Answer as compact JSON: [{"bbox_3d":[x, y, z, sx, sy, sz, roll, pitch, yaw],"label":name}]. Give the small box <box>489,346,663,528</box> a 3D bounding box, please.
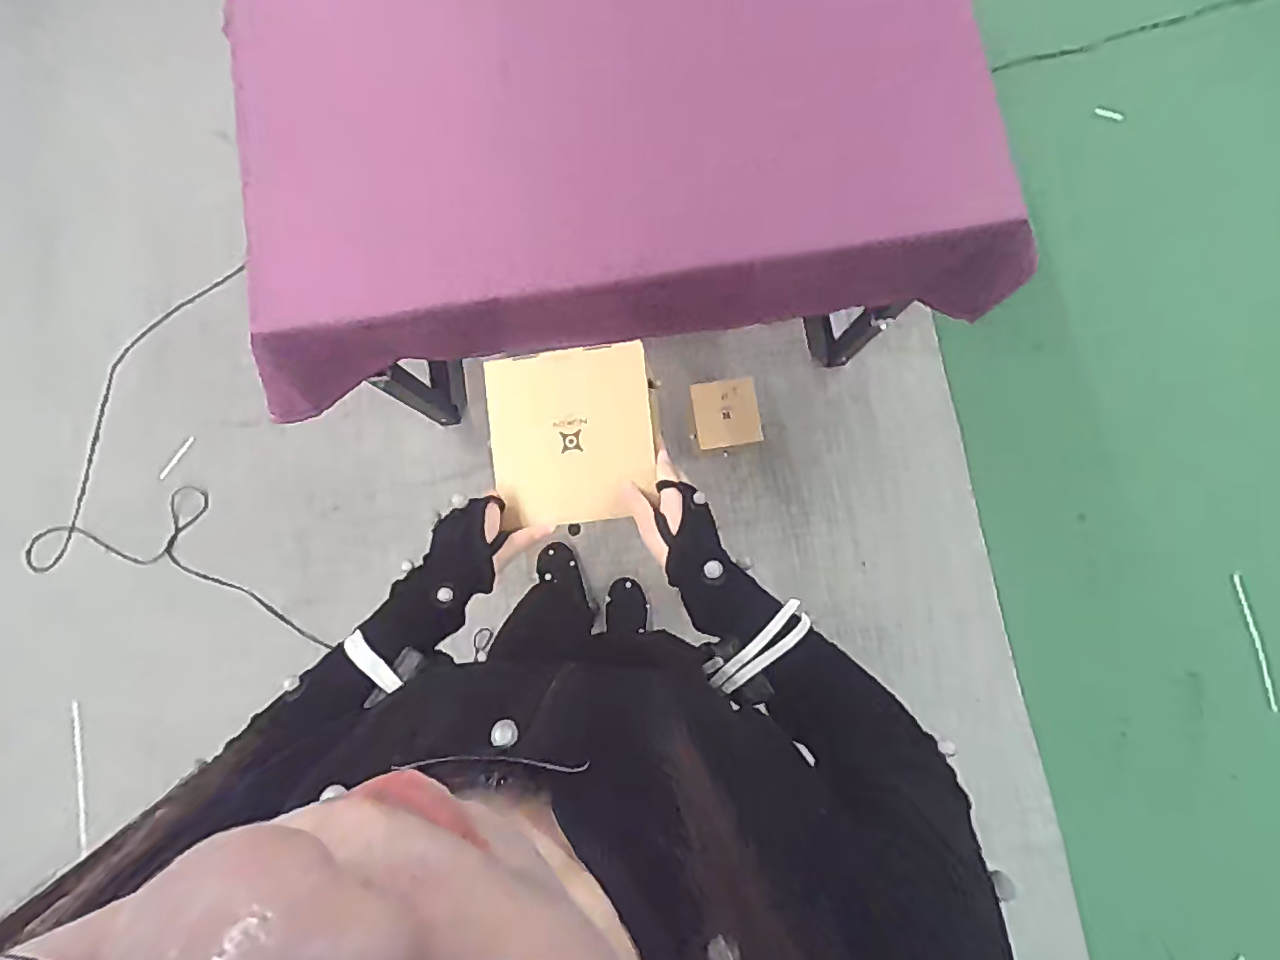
[{"bbox_3d":[-0.063,-0.042,0.630,0.168,0.176,0.179,-5,88,4],"label":"small box"}]
